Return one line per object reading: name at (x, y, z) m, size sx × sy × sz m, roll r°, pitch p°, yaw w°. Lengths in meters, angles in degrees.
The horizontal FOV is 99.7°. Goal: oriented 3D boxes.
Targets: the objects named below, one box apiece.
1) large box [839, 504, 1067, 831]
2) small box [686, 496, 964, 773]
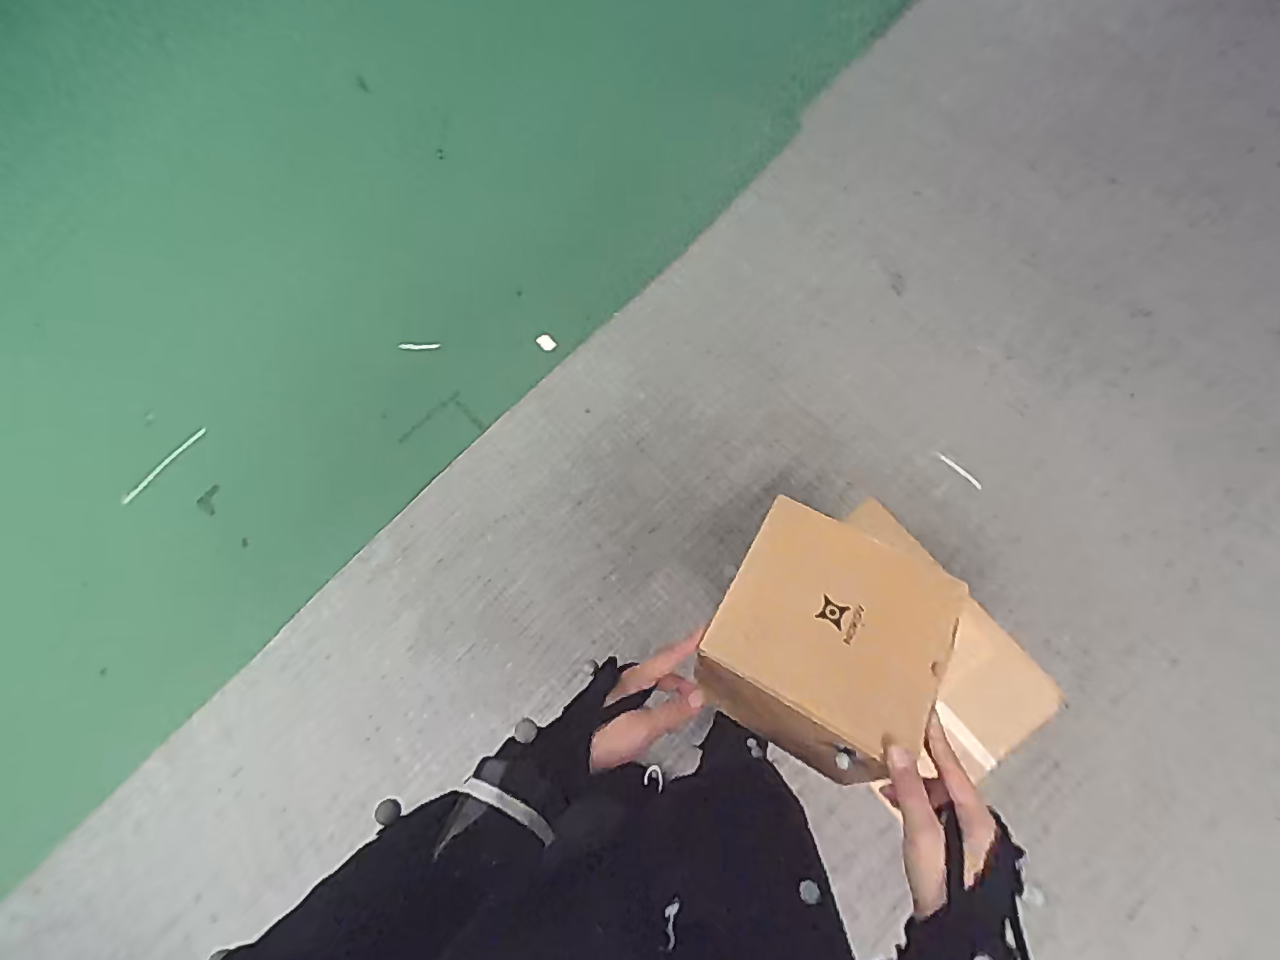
large box at (0.416, 0.310, 0.991) m, size 0.320 × 0.320 × 0.408 m, roll -39°, pitch 74°, yaw -1°
small box at (0.156, 0.151, 0.506) m, size 0.179 × 0.176 × 0.168 m, roll 27°, pitch 62°, yaw 15°
